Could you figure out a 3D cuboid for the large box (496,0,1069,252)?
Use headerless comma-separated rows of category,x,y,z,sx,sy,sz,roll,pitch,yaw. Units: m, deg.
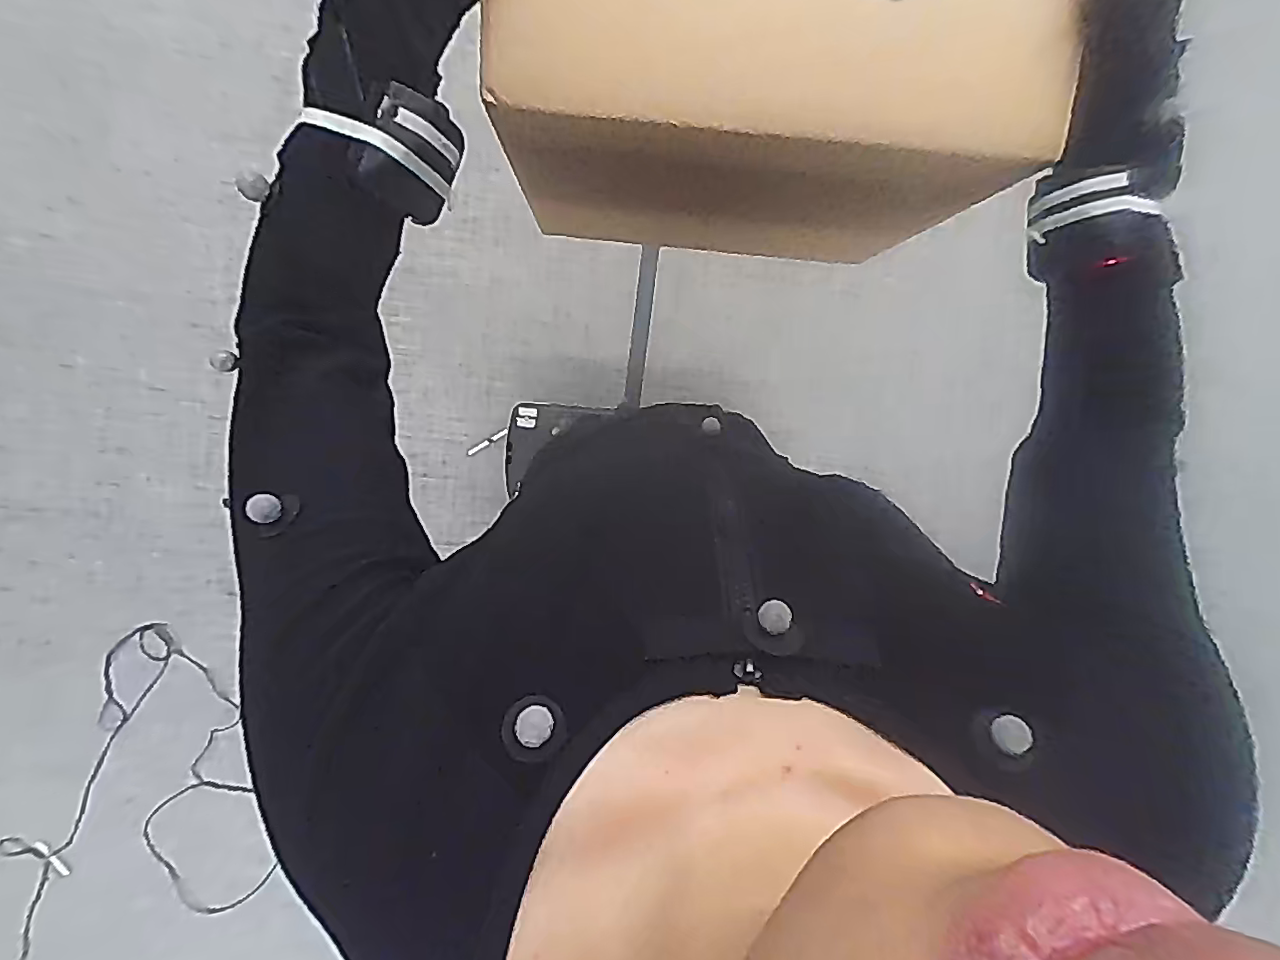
large box,0.095,-0.421,0.504,0.408,0.320,0.320,3,100,-4

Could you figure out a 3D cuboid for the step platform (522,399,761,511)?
step platform,0.004,-0.073,1.571,0.684,0.204,0.286,3,96,-5
